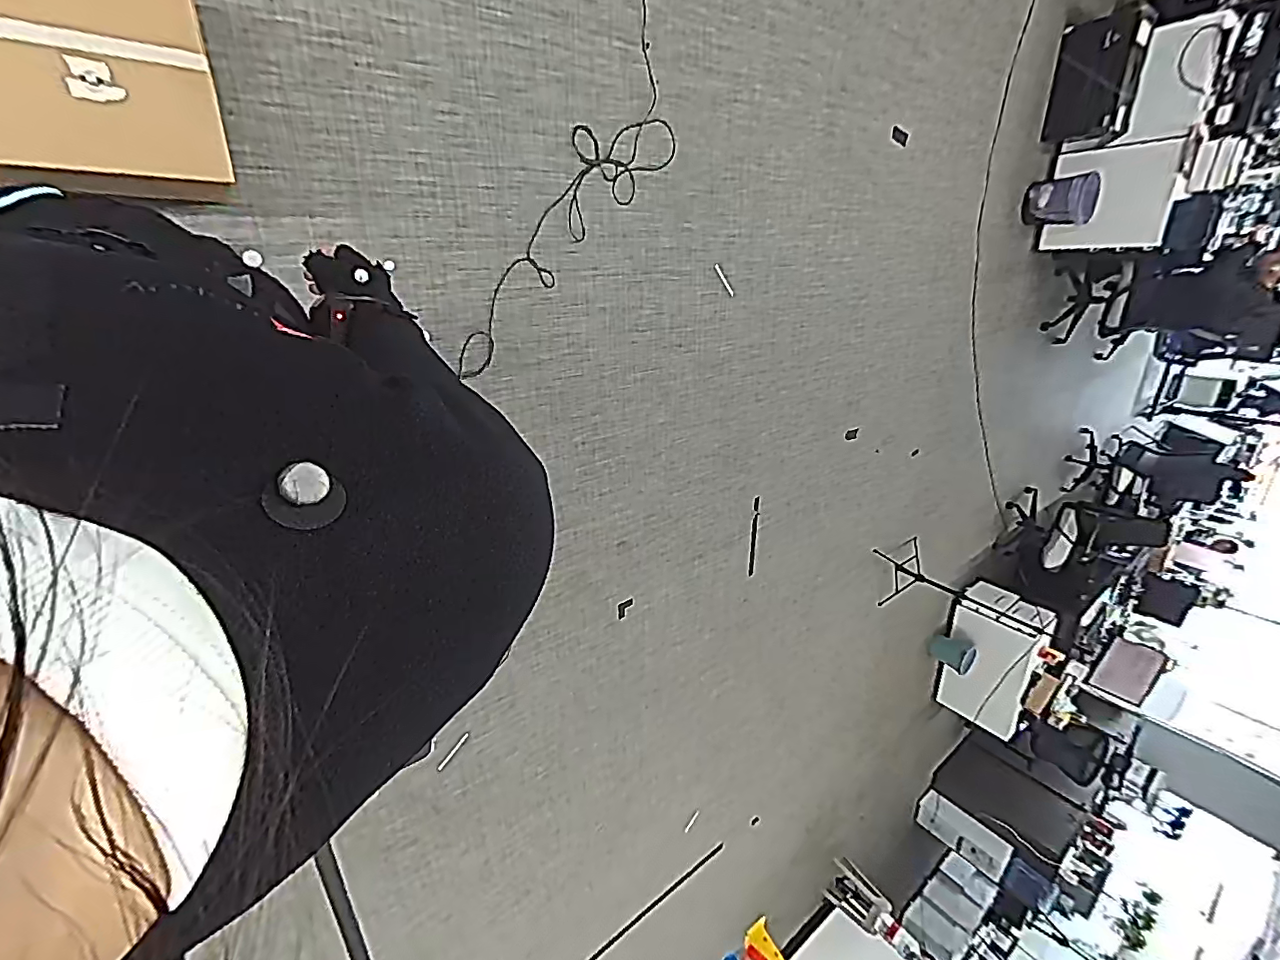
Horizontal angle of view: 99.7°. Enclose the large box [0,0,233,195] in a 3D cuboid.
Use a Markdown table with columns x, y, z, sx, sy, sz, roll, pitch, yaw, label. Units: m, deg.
| x | y | z | sx | sy | sz | roll | pitch | yaw | label |
| --- | --- | --- | --- | --- | --- | --- | --- | --- | --- |
| -0.894 | -0.621 | 0.800 | 0.408 | 0.320 | 0.320 | -16 | 117 | -35 | large box |
